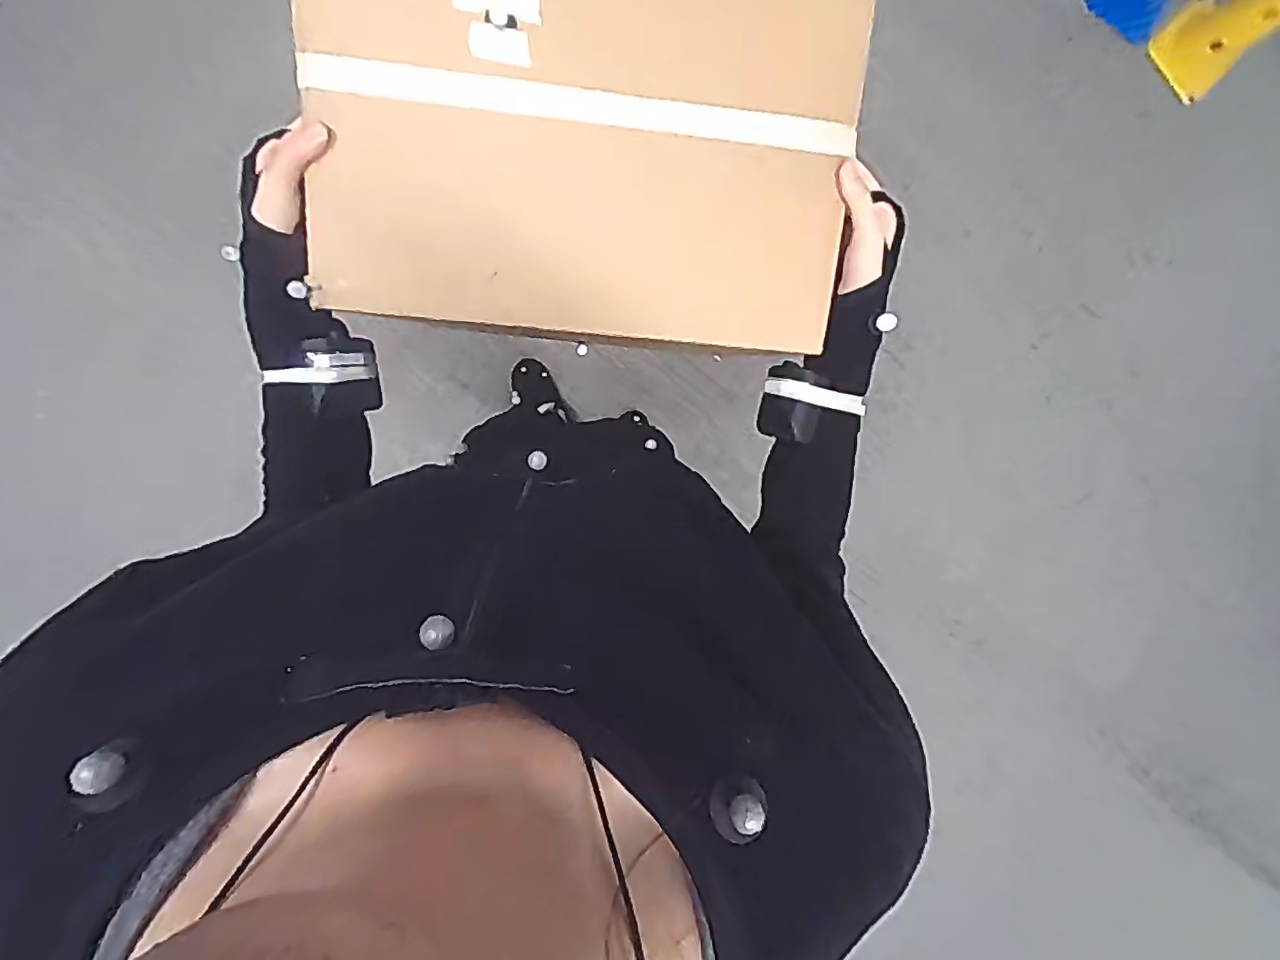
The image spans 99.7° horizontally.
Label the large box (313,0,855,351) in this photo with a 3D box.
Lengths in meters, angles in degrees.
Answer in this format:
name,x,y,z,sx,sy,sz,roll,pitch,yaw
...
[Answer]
name,x,y,z,sx,sy,sz,roll,pitch,yaw
large box,-0.051,-0.307,0.560,0.408,0.320,0.320,4,102,-5
